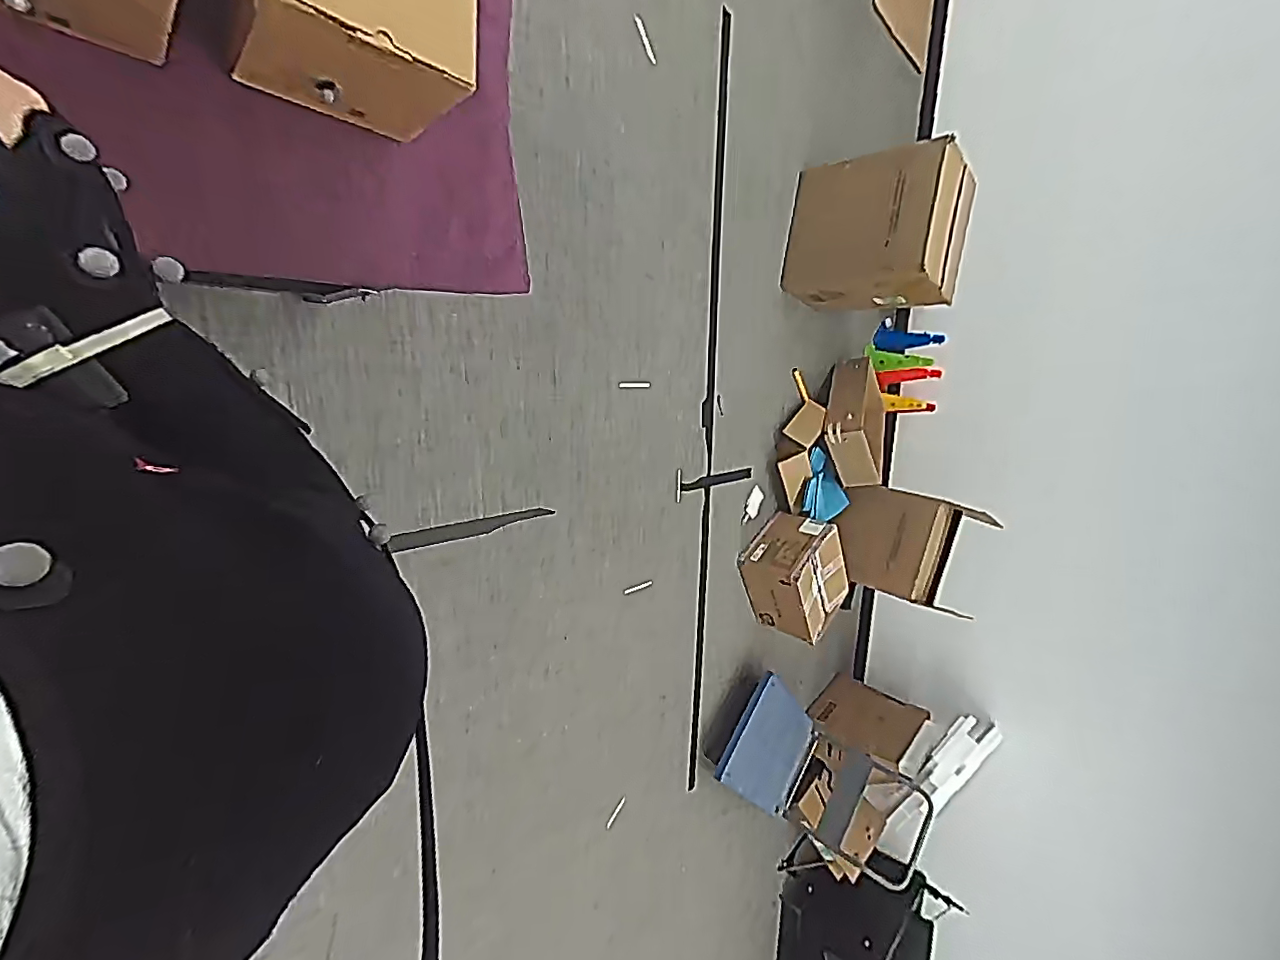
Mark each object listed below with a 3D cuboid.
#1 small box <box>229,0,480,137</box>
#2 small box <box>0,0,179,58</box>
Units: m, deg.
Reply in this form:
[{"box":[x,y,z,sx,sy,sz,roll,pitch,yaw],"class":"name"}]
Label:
[{"box":[-0.260,-0.453,0.489,0.168,0.176,0.179,-5,103,-45],"class":"small box"},{"box":[-0.409,-0.427,0.343,0.168,0.176,0.179,-5,103,-45],"class":"small box"}]
